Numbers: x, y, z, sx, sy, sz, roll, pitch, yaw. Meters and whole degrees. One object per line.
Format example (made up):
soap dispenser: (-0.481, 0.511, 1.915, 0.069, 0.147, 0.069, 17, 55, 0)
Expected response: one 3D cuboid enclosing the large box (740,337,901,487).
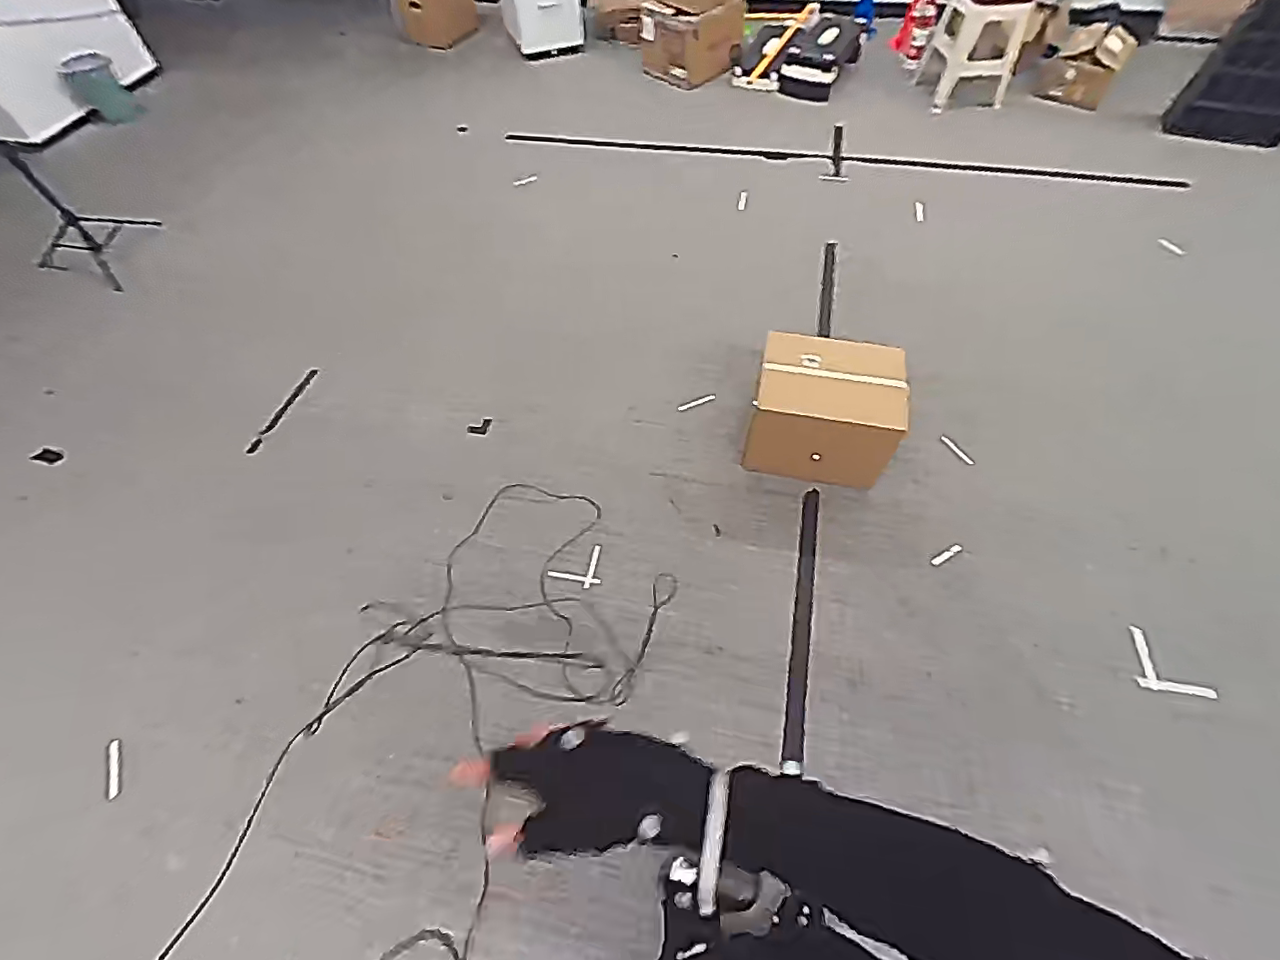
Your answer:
large box: (0.544, -0.206, 1.677, 0.408, 0.320, 0.320, 9, 58, 9)
